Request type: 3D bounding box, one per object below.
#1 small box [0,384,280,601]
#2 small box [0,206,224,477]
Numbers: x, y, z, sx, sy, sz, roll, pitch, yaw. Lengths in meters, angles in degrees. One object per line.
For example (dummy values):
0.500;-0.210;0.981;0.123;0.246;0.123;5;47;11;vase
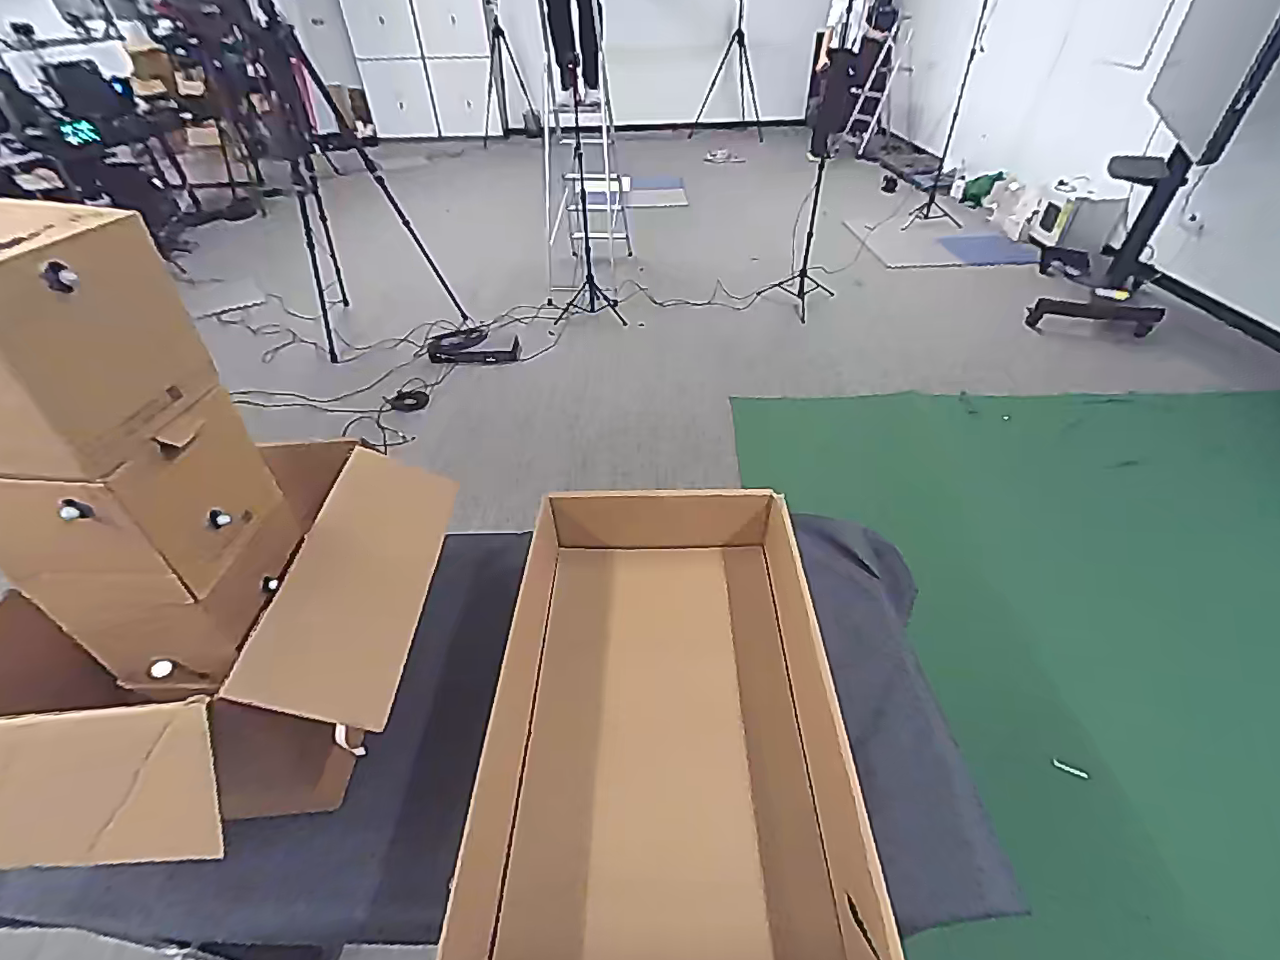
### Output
-0.525;0.009;0.560;0.179;0.176;0.168;3;41;-3;small box
-0.515;-0.117;0.455;0.179;0.176;0.168;3;41;-1;small box
